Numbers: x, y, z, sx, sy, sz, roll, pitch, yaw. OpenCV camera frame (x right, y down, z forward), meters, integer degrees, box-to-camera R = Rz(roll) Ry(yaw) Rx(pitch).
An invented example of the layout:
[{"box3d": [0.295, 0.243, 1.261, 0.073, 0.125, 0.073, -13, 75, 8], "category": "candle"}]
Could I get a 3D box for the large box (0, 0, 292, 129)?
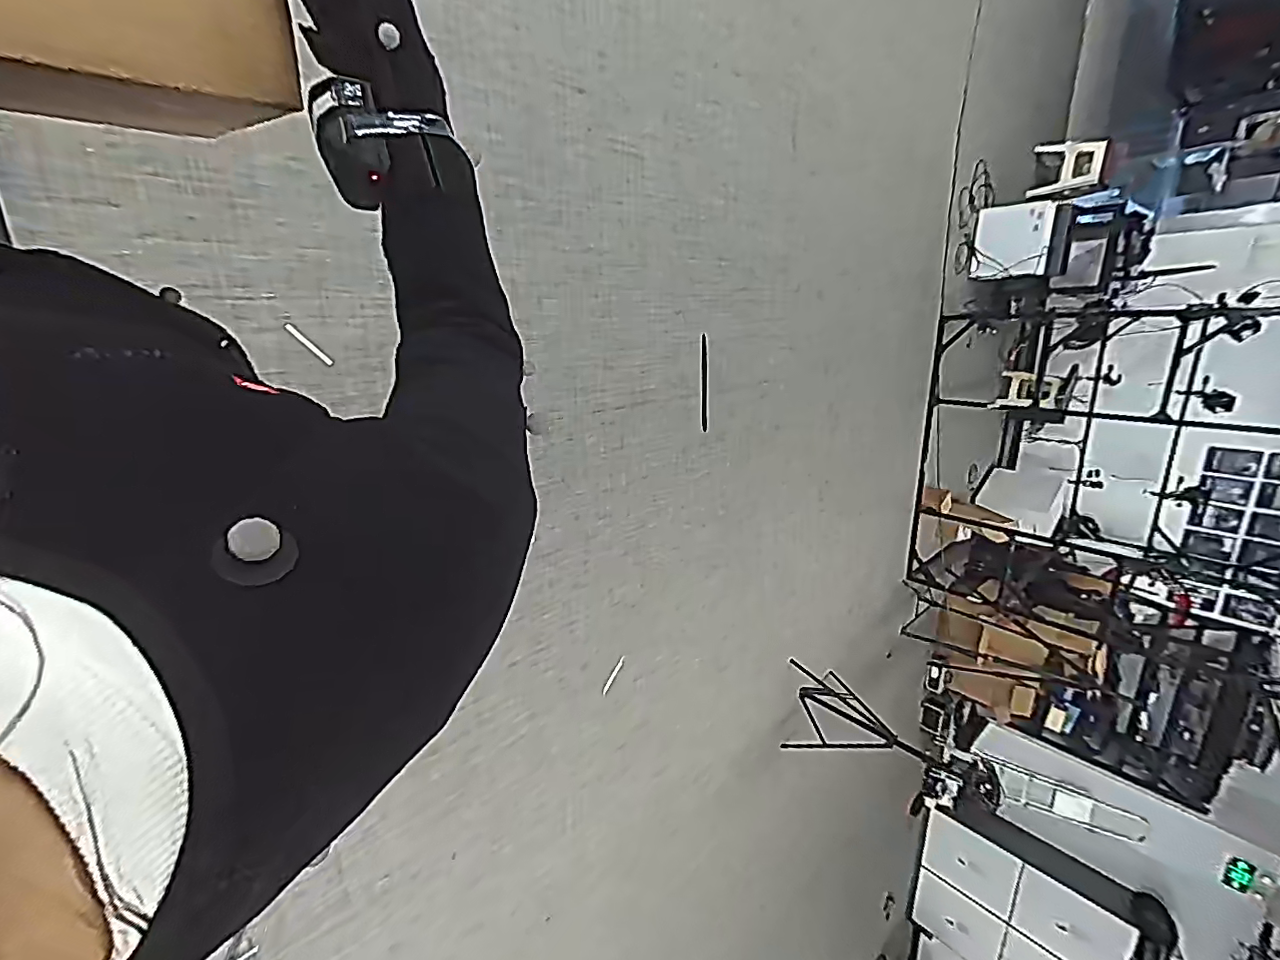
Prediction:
[{"box3d": [-0.480, -0.401, 0.280, 0.408, 0.320, 0.320, -20, 125, -41], "category": "large box"}]
